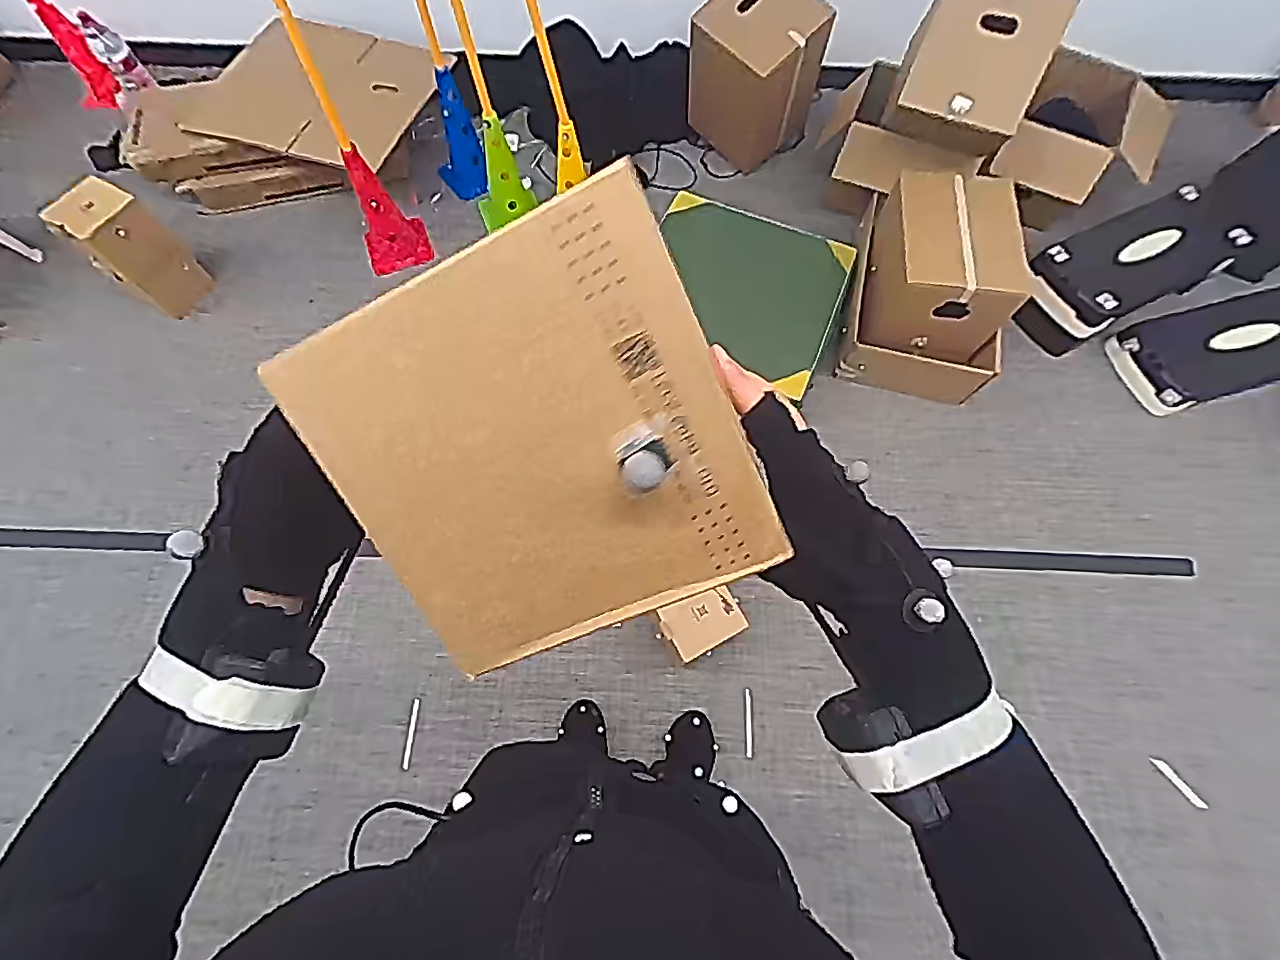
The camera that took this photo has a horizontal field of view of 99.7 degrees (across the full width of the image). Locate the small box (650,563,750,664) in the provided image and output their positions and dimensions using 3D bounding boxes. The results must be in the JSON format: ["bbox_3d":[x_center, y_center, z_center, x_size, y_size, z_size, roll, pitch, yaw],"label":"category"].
[{"bbox_3d":[0.138,0.329,1.312,0.179,0.176,0.168,-29,71,-12],"label":"small box"}]
